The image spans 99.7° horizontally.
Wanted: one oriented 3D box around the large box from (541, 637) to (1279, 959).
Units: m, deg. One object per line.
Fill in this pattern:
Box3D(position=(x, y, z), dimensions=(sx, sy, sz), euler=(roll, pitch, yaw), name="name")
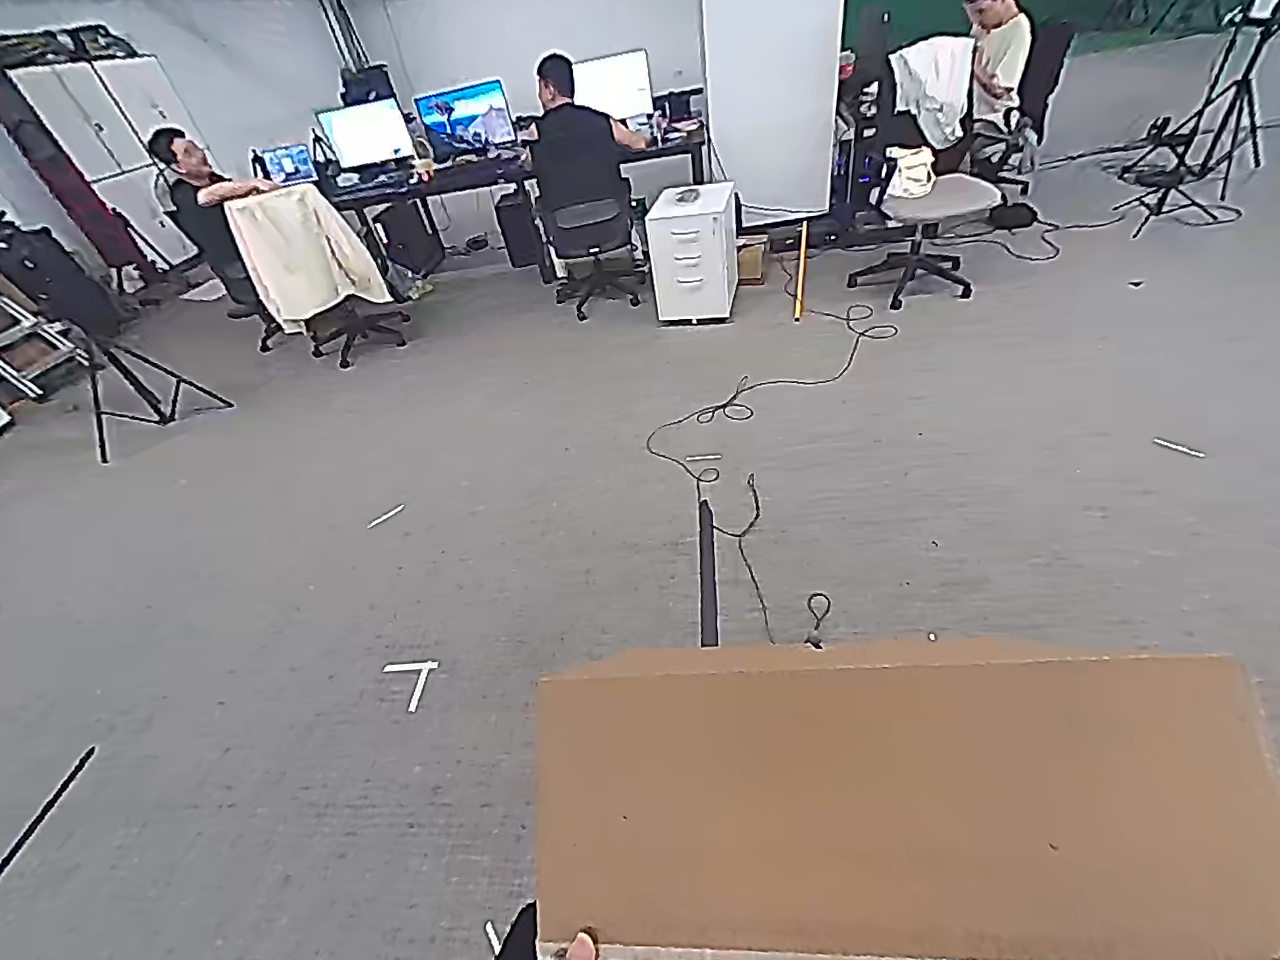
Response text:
Box3D(position=(0.166, 0.310, 0.445), dimensions=(0.408, 0.320, 0.320), euler=(-6, 75, 10), name="large box")
